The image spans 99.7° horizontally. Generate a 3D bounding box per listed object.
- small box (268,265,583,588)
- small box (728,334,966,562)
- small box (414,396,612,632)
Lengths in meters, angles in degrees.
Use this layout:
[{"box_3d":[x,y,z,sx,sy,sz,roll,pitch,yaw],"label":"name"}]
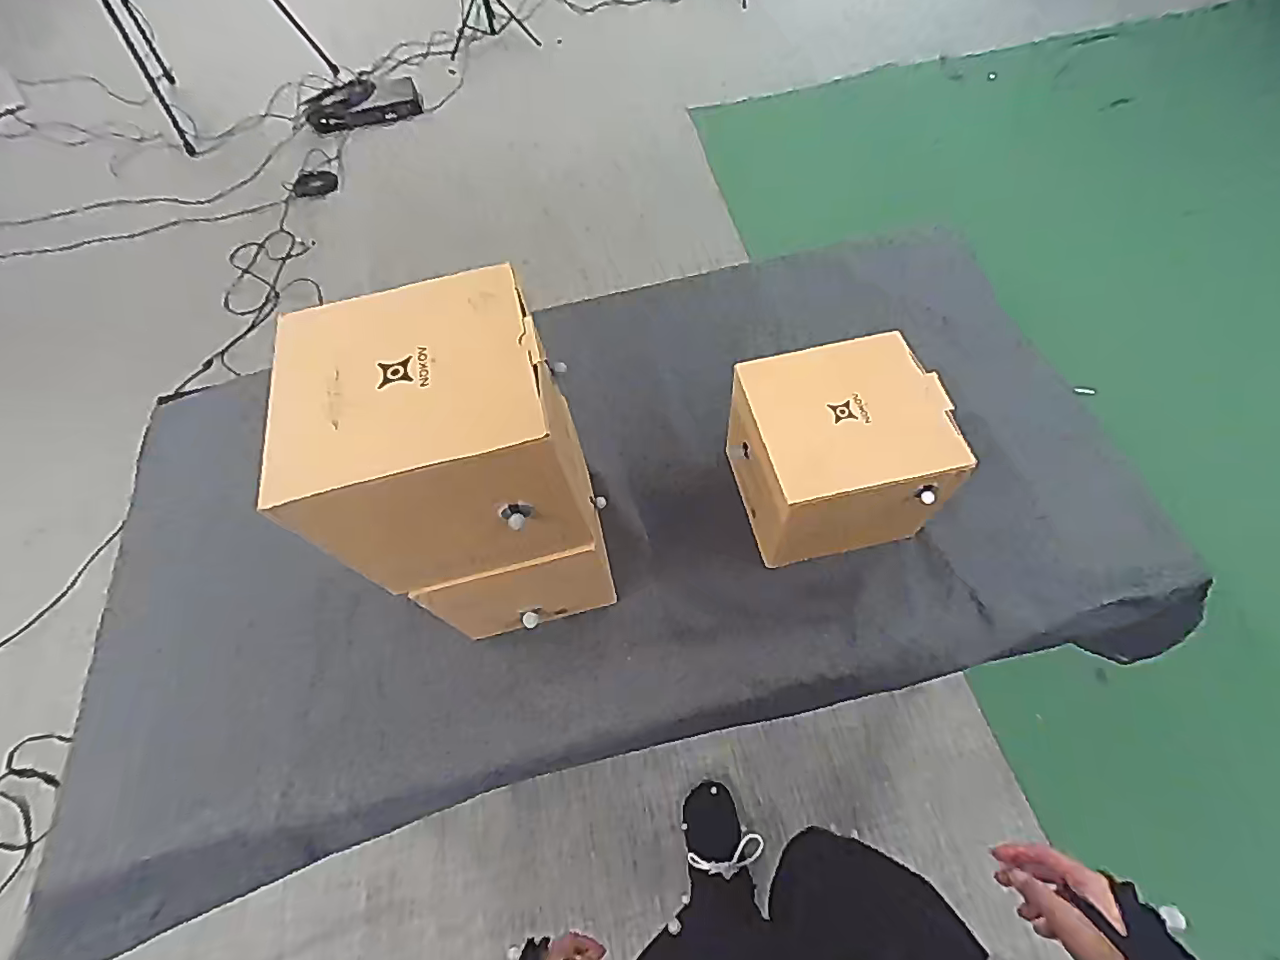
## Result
[{"box_3d":[-0.149,-0.033,0.432,0.179,0.176,0.168,-15,60,-2],"label":"small box"},{"box_3d":[0.199,-0.026,0.586,0.179,0.176,0.168,-12,61,-2],"label":"small box"},{"box_3d":[-0.131,0.042,0.574,0.168,0.176,0.179,-14,62,-3],"label":"small box"}]
